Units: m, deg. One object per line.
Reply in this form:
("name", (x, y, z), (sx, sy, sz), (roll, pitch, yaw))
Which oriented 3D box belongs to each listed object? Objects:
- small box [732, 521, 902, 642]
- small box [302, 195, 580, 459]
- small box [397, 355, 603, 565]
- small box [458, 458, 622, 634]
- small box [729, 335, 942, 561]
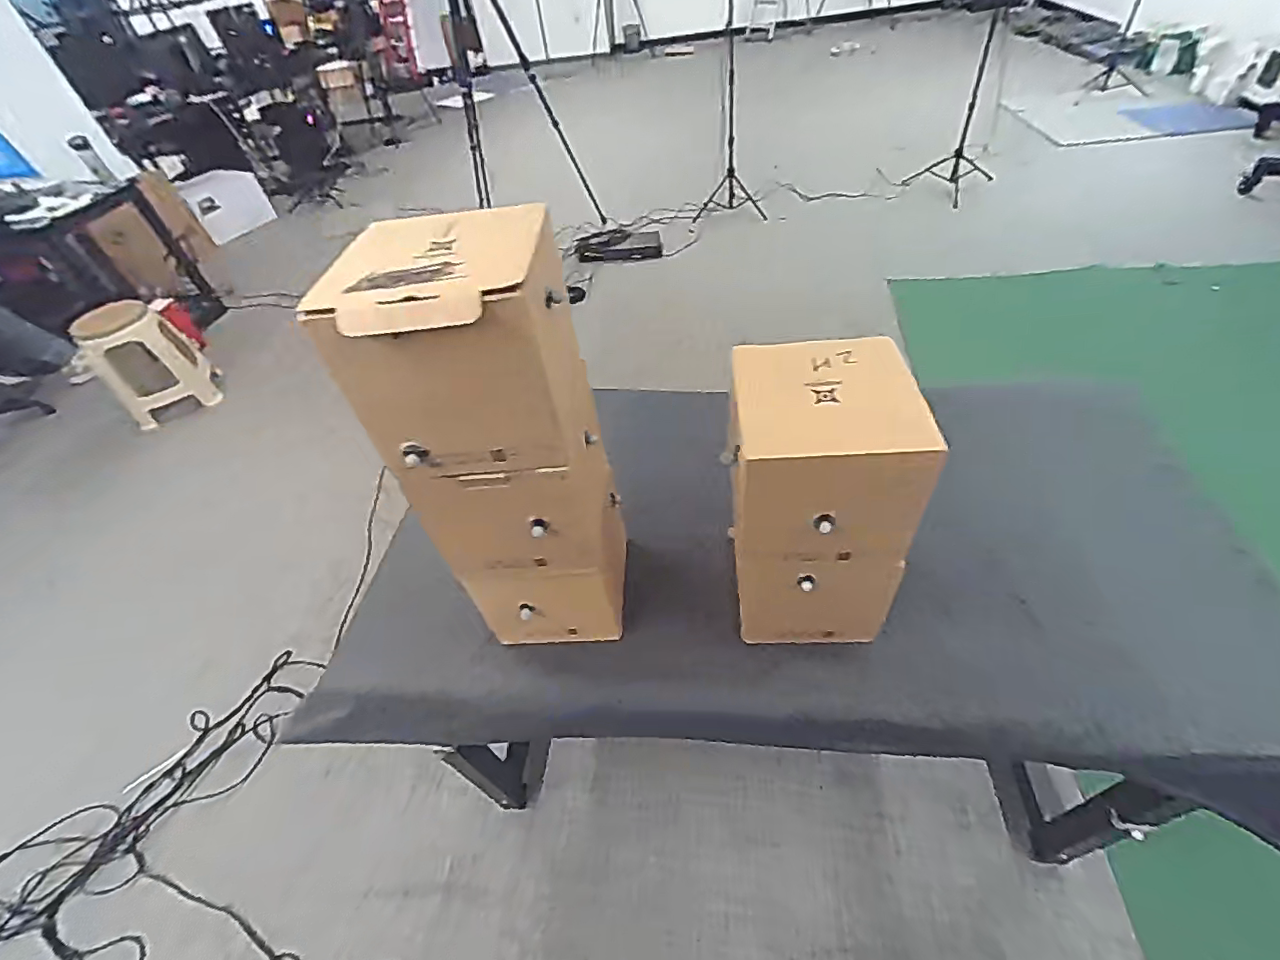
("small box", (0.205, 0.084, 0.685), (0.168, 0.176, 0.179), (-2, 46, 6))
("small box", (-0.150, -0.131, 0.487), (0.168, 0.176, 0.179), (-4, 45, 3))
("small box", (-0.135, -0.017, 0.604), (0.168, 0.176, 0.179), (-3, 45, 4))
("small box", (-0.117, 0.094, 0.722), (0.168, 0.176, 0.179), (-3, 46, 5))
("small box", (0.182, -0.029, 0.565), (0.168, 0.176, 0.179), (-1, 47, 6))
